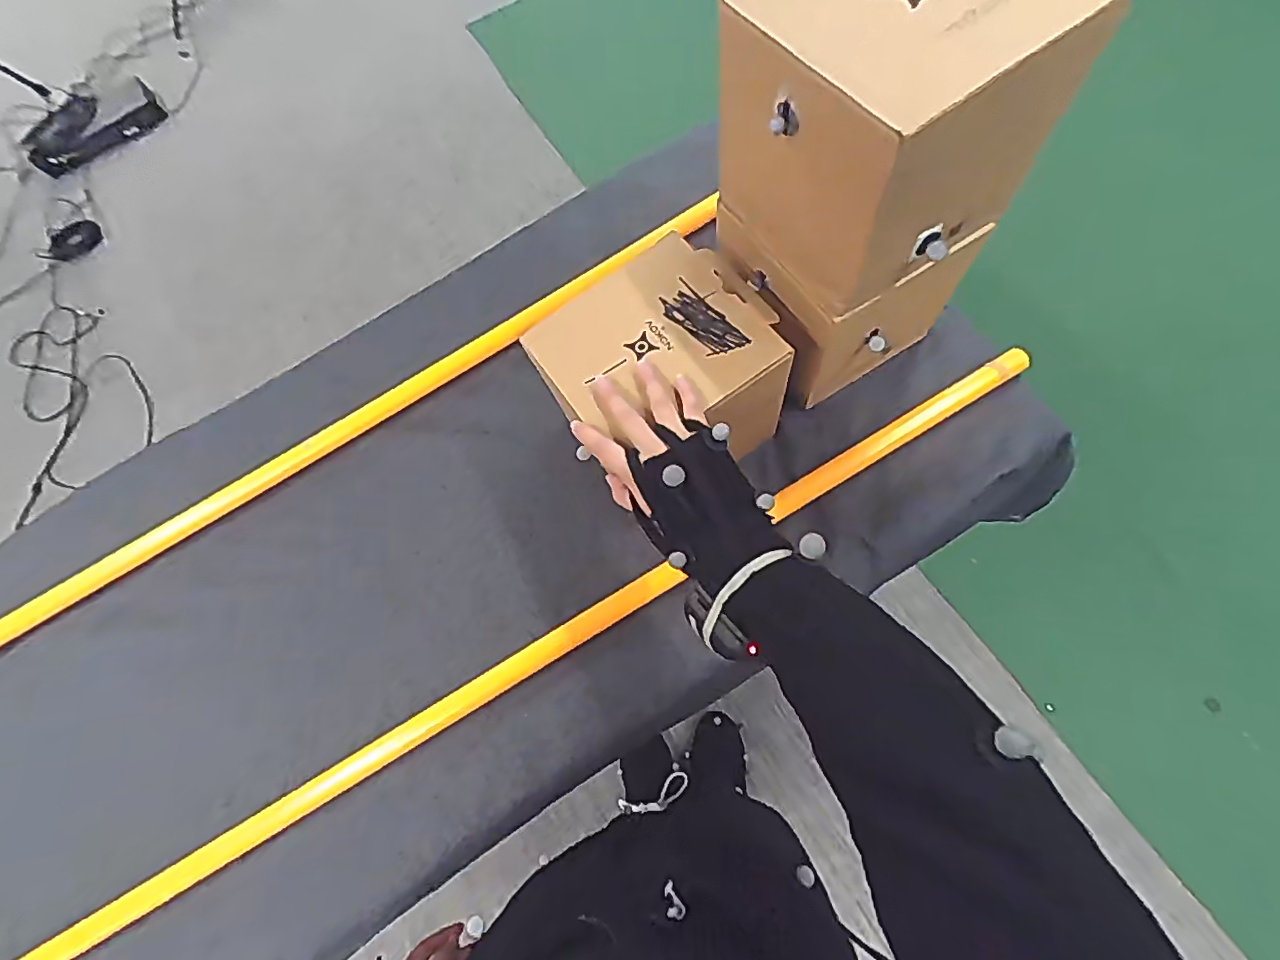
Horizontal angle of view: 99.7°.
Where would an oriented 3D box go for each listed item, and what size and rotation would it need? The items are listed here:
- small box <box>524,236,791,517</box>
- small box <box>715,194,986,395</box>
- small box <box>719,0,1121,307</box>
[{"bbox_3d":[0.020,-0.090,0.535,0.179,0.176,0.168,-36,69,-5],"label":"small box"},{"bbox_3d":[0.194,-0.211,0.555,0.168,0.176,0.179,-32,69,-3],"label":"small box"},{"bbox_3d":[0.174,-0.270,0.404,0.168,0.176,0.179,-34,70,-3],"label":"small box"}]
